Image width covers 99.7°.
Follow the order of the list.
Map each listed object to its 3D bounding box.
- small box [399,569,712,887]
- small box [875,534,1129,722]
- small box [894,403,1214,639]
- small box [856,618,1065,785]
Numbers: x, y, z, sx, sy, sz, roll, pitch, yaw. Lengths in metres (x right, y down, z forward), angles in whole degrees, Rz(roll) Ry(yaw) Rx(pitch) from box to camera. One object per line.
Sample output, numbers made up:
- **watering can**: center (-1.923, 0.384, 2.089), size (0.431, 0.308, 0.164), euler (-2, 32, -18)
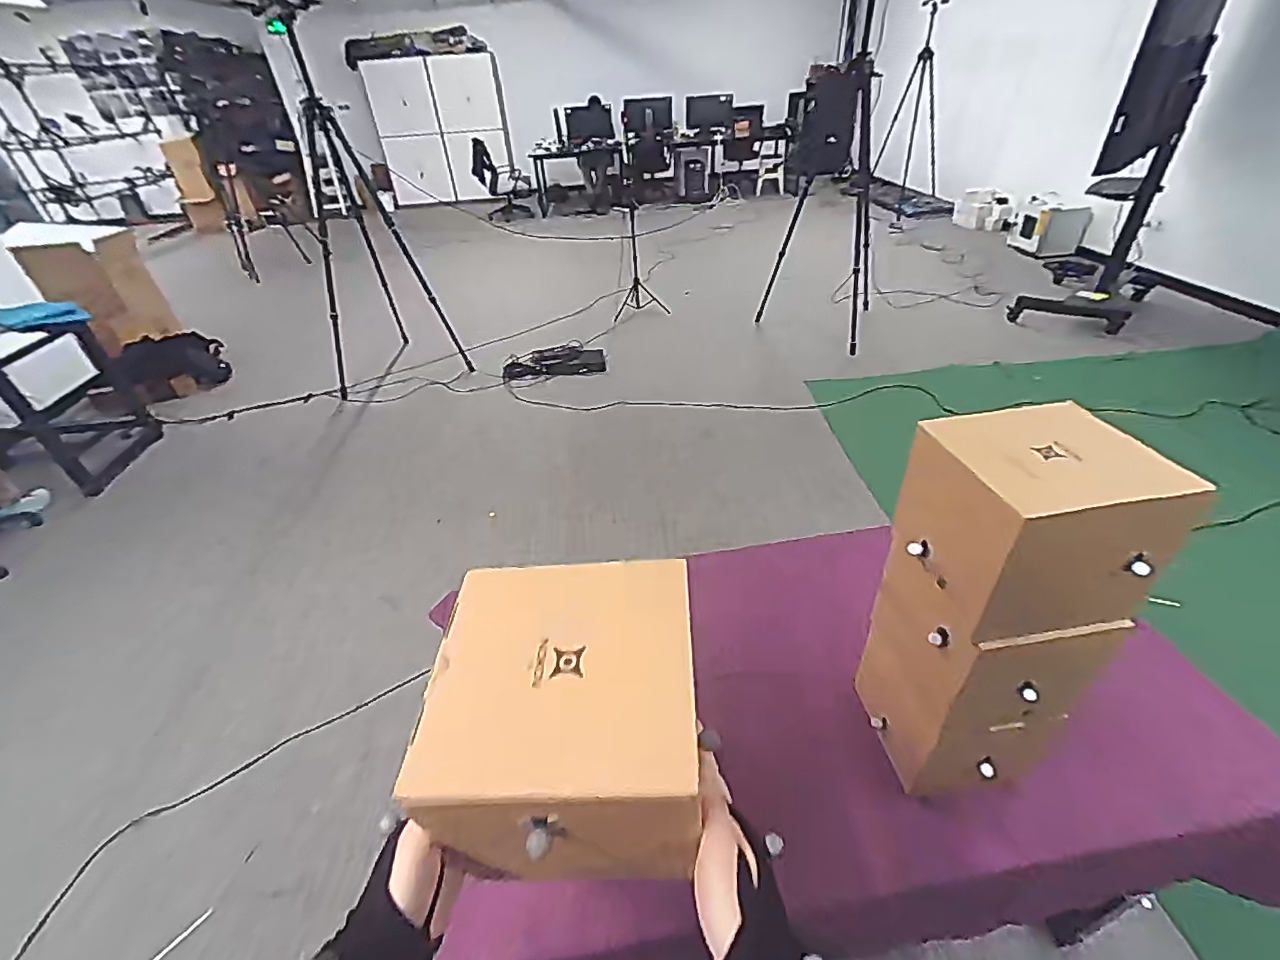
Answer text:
- **small box**: center (-0.039, 0.186, 0.406), size (0.179, 0.176, 0.168), euler (-4, 42, 5)
- **small box**: center (0.413, 0.172, 0.657), size (0.168, 0.176, 0.179), euler (-7, 37, -4)
- **small box**: center (0.398, 0.040, 0.562), size (0.179, 0.176, 0.168), euler (-8, 36, -3)
- **small box**: center (0.427, 0.303, 0.757), size (0.168, 0.176, 0.179), euler (-7, 38, -3)
